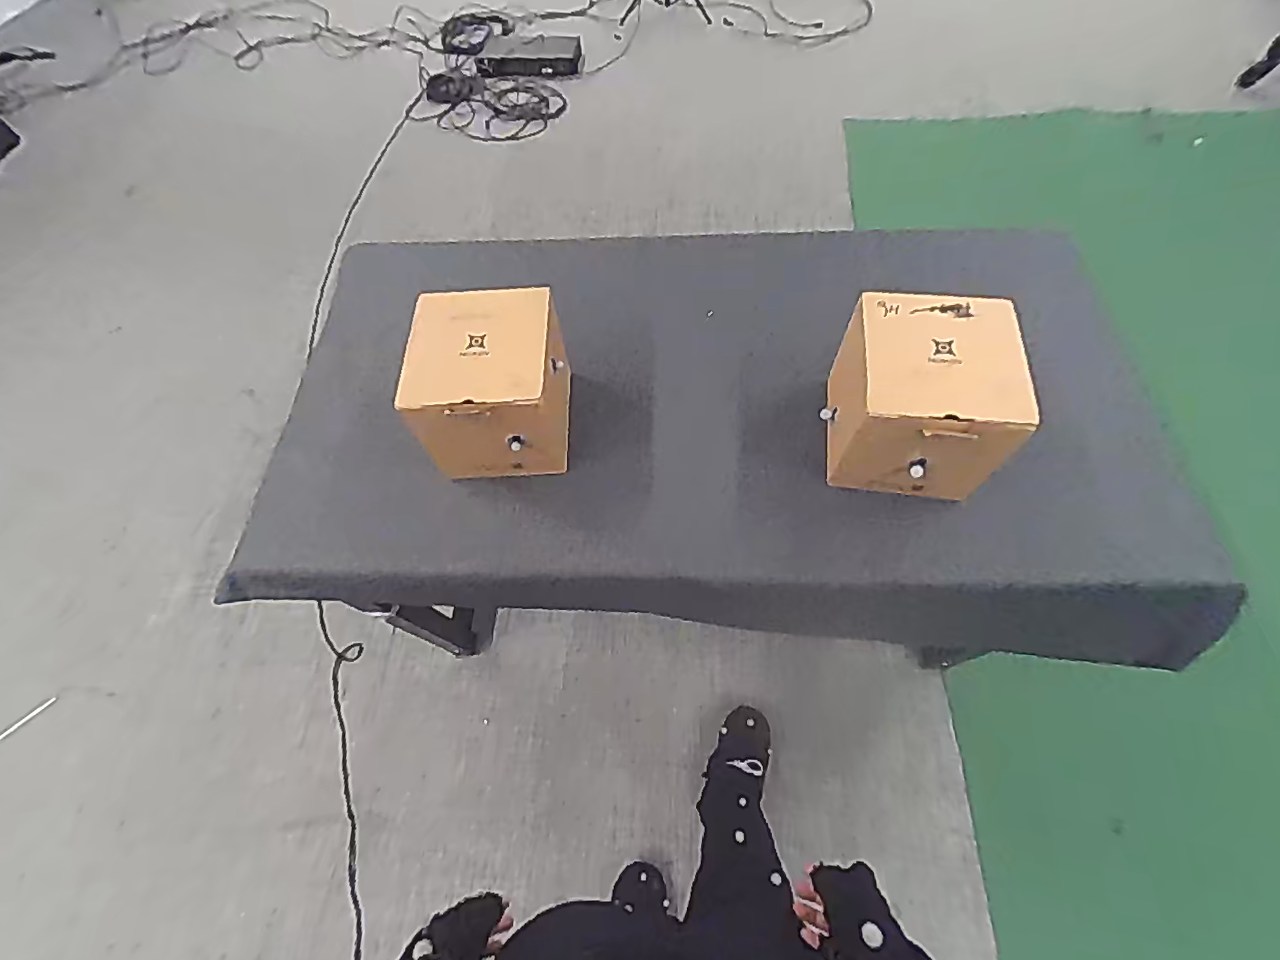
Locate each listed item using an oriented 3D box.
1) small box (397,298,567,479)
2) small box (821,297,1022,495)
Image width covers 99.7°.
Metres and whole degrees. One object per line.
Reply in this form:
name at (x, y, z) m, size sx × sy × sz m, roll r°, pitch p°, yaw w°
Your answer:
small box at (-0.191, -0.110, 0.711) m, size 0.168 × 0.176 × 0.179 m, roll -4°, pitch 61°, yaw 1°
small box at (0.324, -0.095, 0.660) m, size 0.168 × 0.176 × 0.179 m, roll 5°, pitch 64°, yaw 7°
